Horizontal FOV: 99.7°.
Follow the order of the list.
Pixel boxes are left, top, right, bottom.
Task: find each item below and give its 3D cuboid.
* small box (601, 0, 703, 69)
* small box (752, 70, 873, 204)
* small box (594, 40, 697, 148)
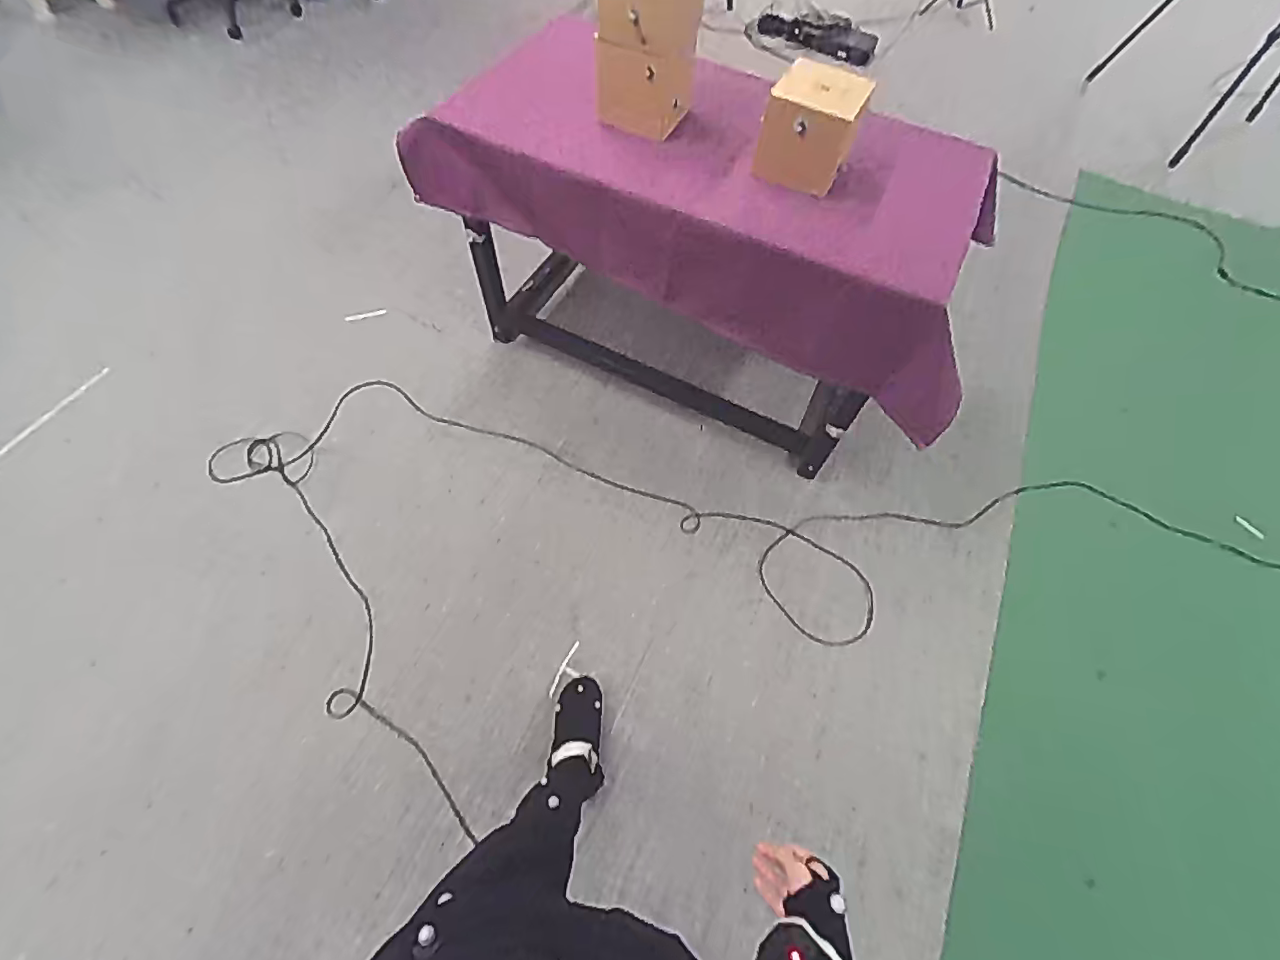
[{"bbox_3d":[0.027,-0.974,1.087,0.168,0.176,0.179,23,62,9],"label":"small box"},{"bbox_3d":[0.359,-0.727,1.154,0.179,0.176,0.168,27,63,11],"label":"small box"},{"bbox_3d":[0.009,-0.893,1.230,0.179,0.176,0.168,24,62,9],"label":"small box"}]
